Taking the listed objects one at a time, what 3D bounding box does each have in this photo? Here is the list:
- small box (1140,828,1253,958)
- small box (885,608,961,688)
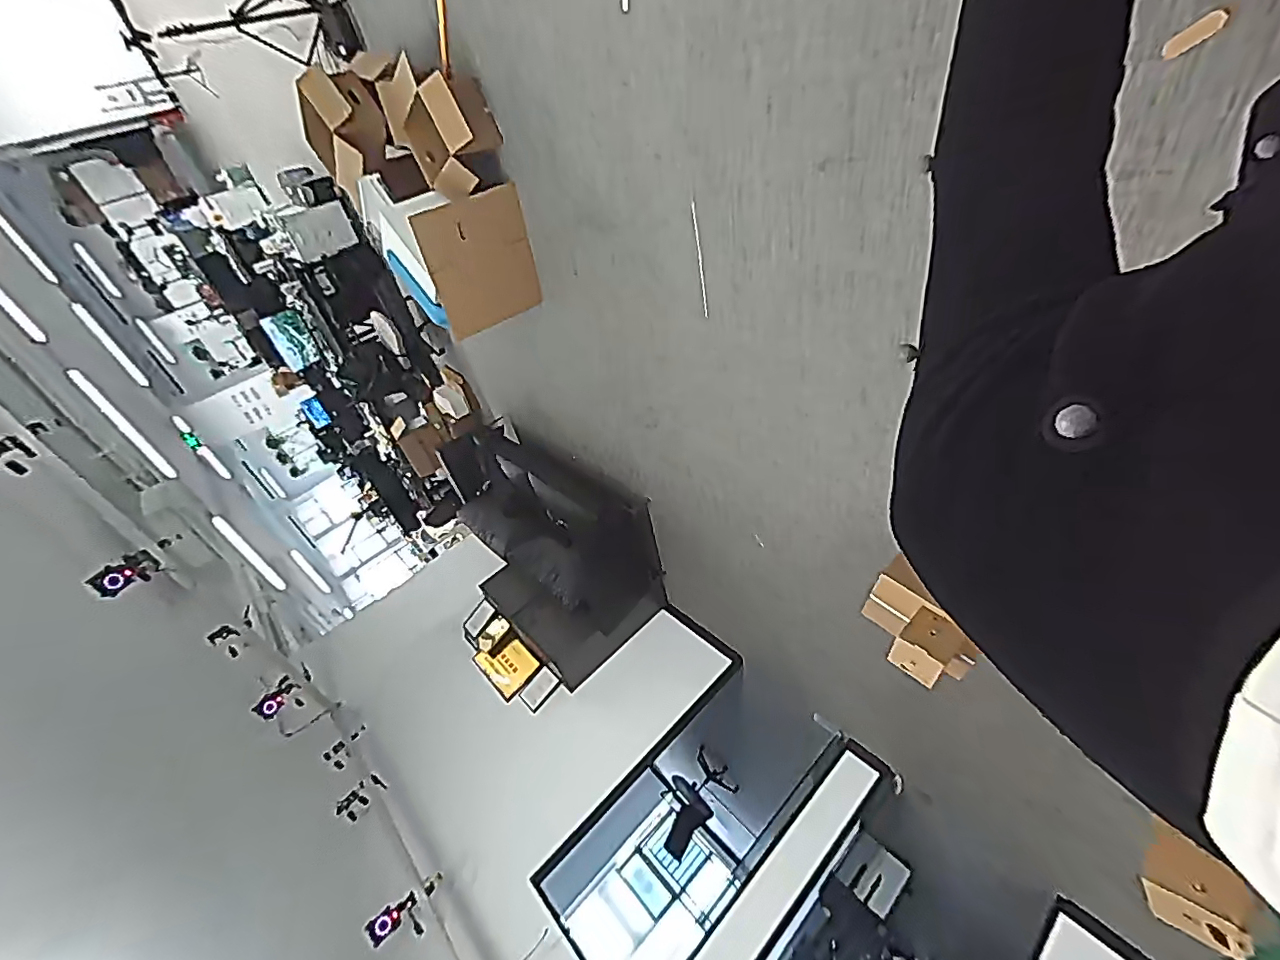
[{"bbox_3d":[1.447,1.058,1.403,0.179,0.176,0.168,3,125,58],"label":"small box"},{"bbox_3d":[1.006,0.591,1.918,0.168,0.176,0.179,34,146,34],"label":"small box"}]
